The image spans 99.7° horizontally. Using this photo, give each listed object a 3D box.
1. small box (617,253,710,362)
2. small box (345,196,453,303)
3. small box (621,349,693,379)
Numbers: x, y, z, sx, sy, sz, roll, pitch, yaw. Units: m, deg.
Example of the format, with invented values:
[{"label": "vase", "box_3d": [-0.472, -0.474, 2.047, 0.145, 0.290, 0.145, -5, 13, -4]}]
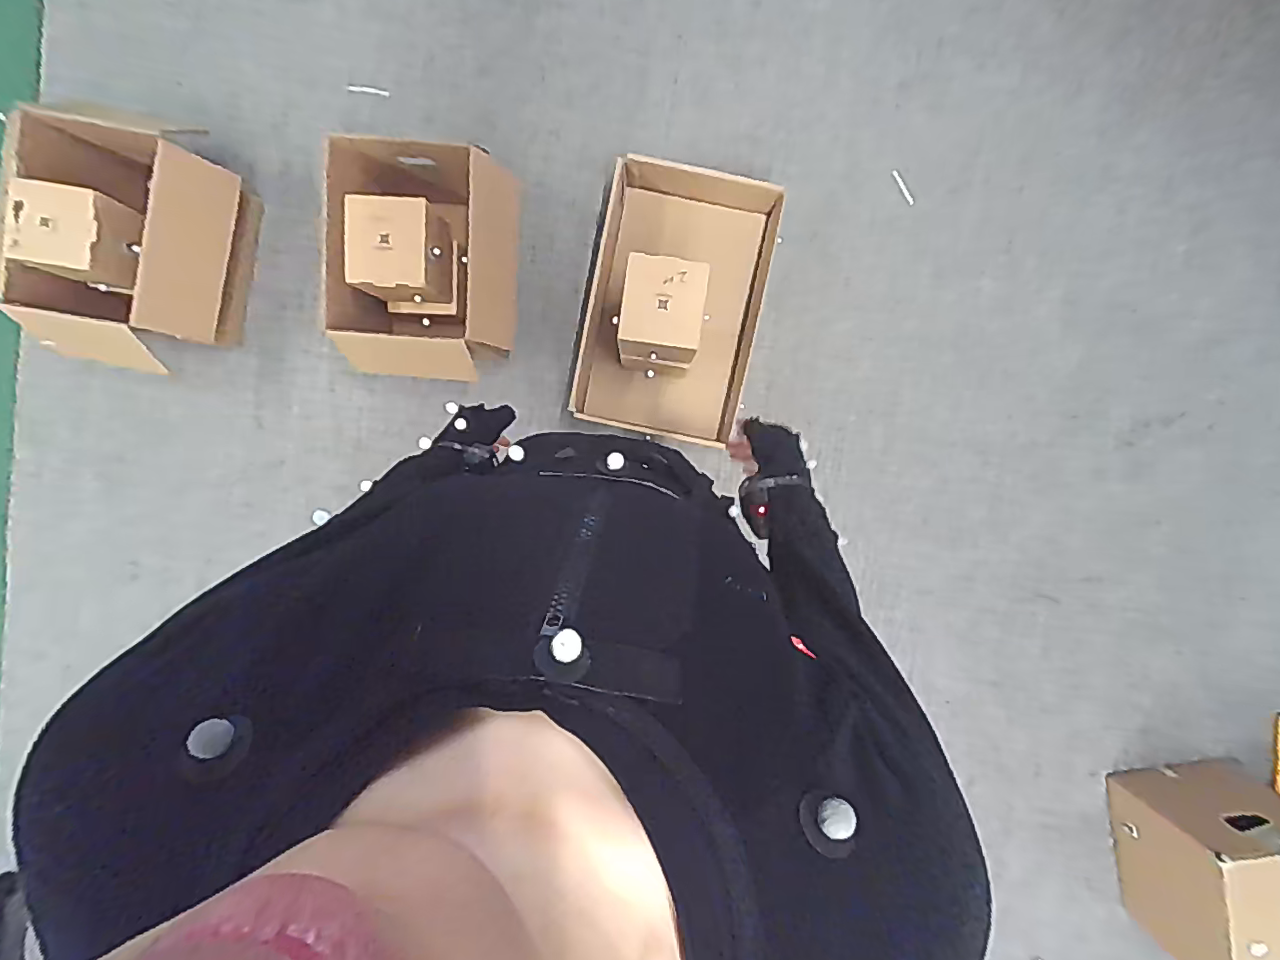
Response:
[{"label": "small box", "box_3d": [0.046, -0.355, 1.146, 0.168, 0.176, 0.179, 8, 92, -1]}, {"label": "small box", "box_3d": [-0.515, -0.491, 1.175, 0.168, 0.176, 0.179, 3, 96, 0]}, {"label": "small box", "box_3d": [0.050, -0.354, 1.311, 0.168, 0.176, 0.179, 11, 93, 0]}]
